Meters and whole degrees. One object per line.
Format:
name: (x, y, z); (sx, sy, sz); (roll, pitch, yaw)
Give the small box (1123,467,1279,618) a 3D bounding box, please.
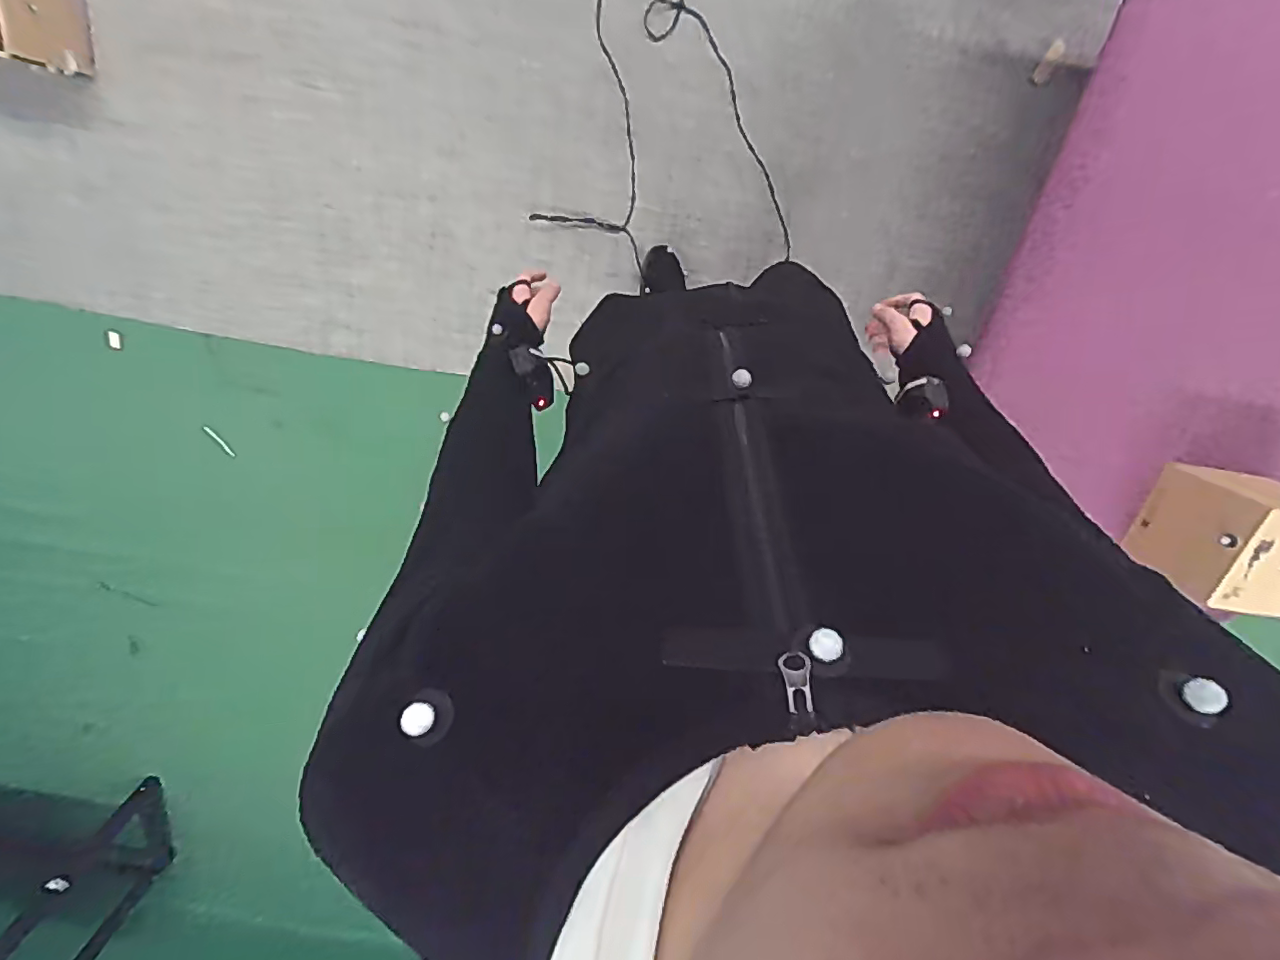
small box: (0.923, 0.092, 0.831); (0.179, 0.176, 0.168); (8, 113, -2)
